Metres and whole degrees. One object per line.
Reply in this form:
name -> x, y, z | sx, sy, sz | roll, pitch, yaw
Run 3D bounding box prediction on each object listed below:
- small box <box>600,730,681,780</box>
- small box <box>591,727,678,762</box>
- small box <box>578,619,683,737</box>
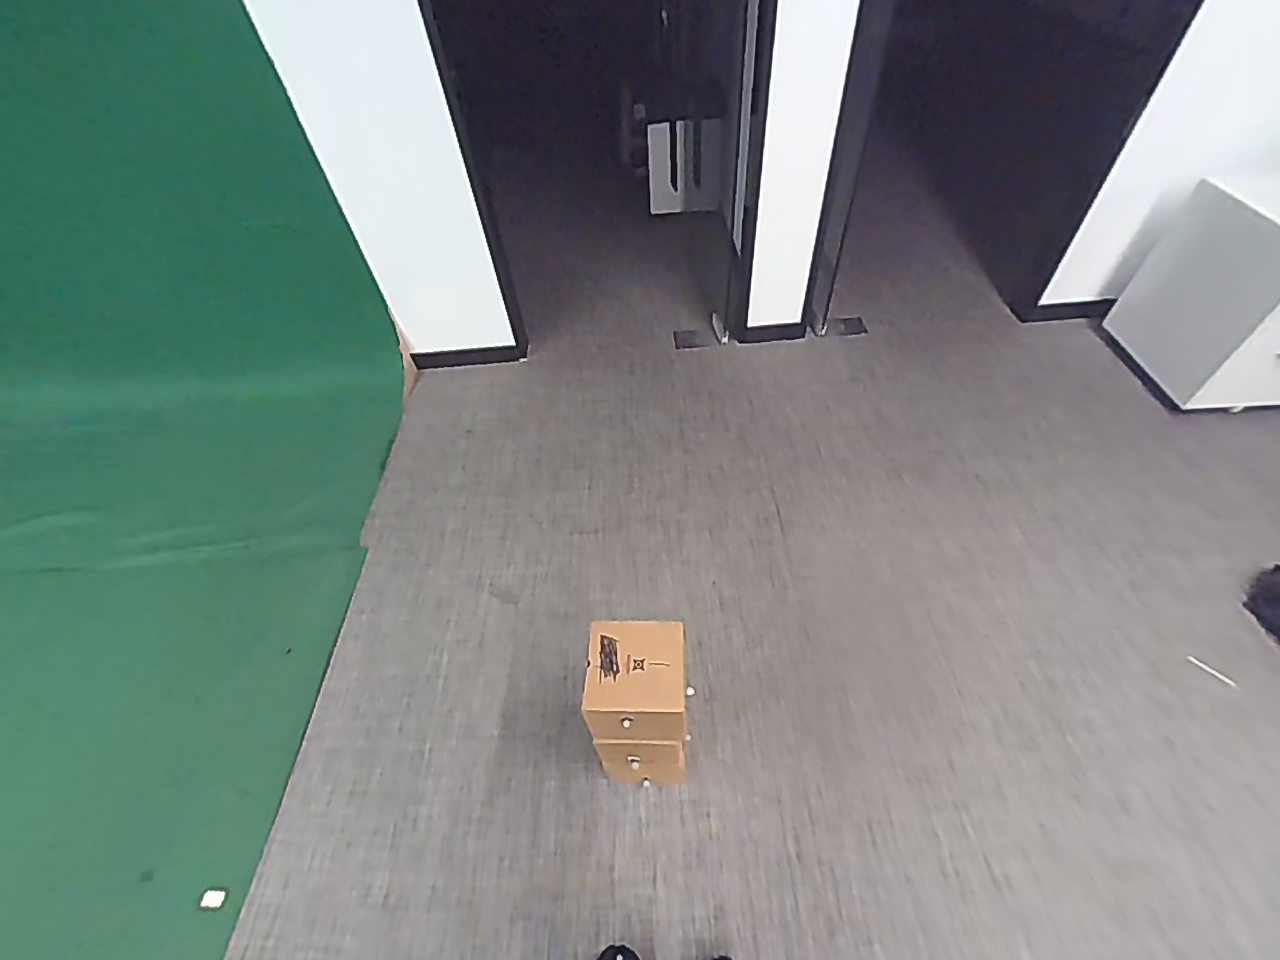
small box -> 0.008, 0.593, 1.269 | 0.179, 0.176, 0.168 | 0, 49, 5
small box -> -0.004, 0.484, 1.150 | 0.168, 0.176, 0.179 | -2, 50, 5
small box -> -0.009, 0.377, 1.025 | 0.179, 0.176, 0.168 | -1, 50, 5
